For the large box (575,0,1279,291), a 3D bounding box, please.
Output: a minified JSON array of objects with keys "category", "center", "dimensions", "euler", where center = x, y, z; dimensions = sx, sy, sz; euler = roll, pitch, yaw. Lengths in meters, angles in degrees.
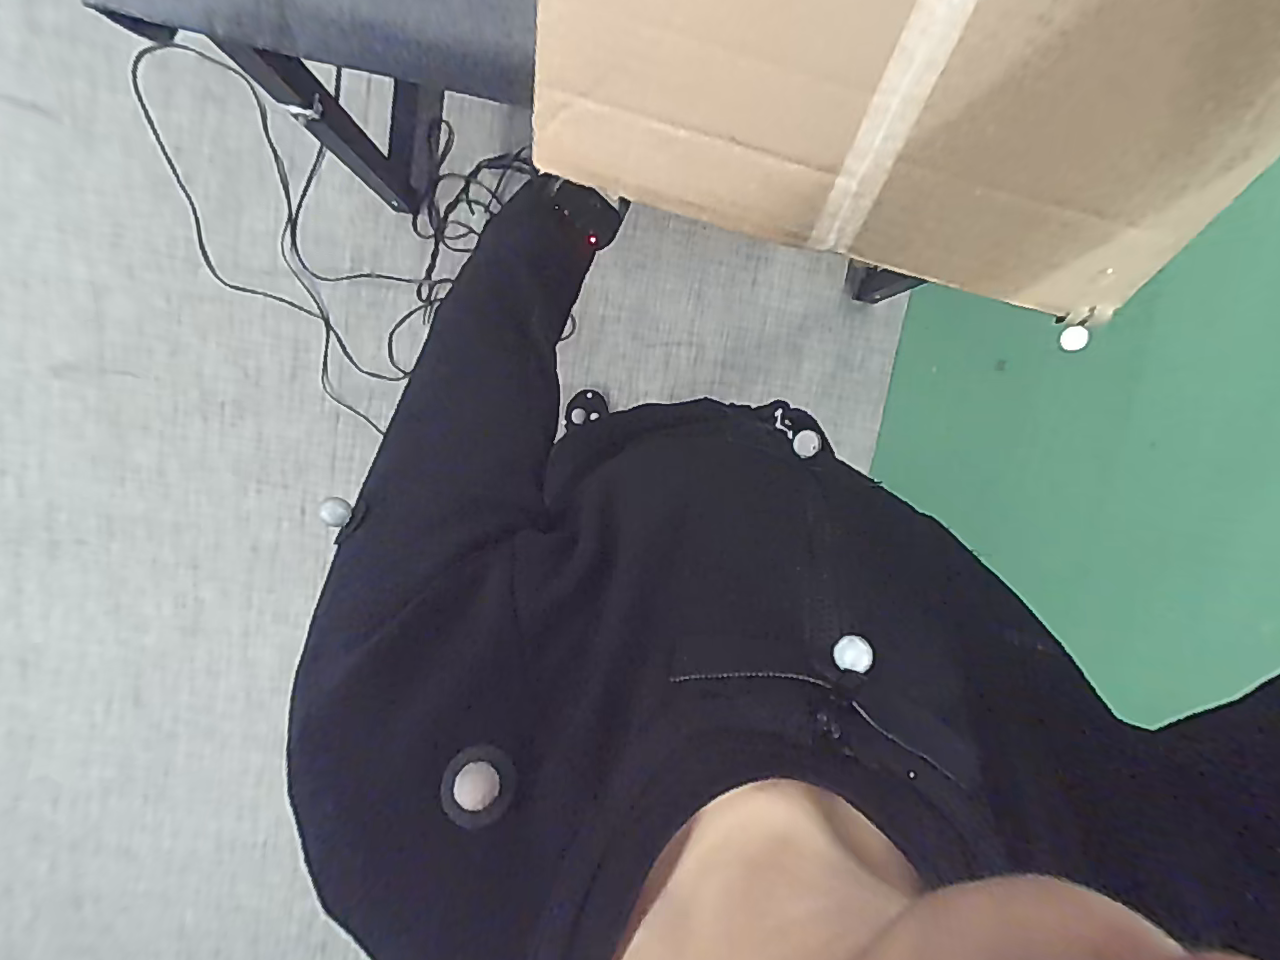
[{"category":"large box","center":[0.166,-0.372,0.234],"dimensions":[0.320,0.408,0.320],"euler":[14,52,-2]}]
